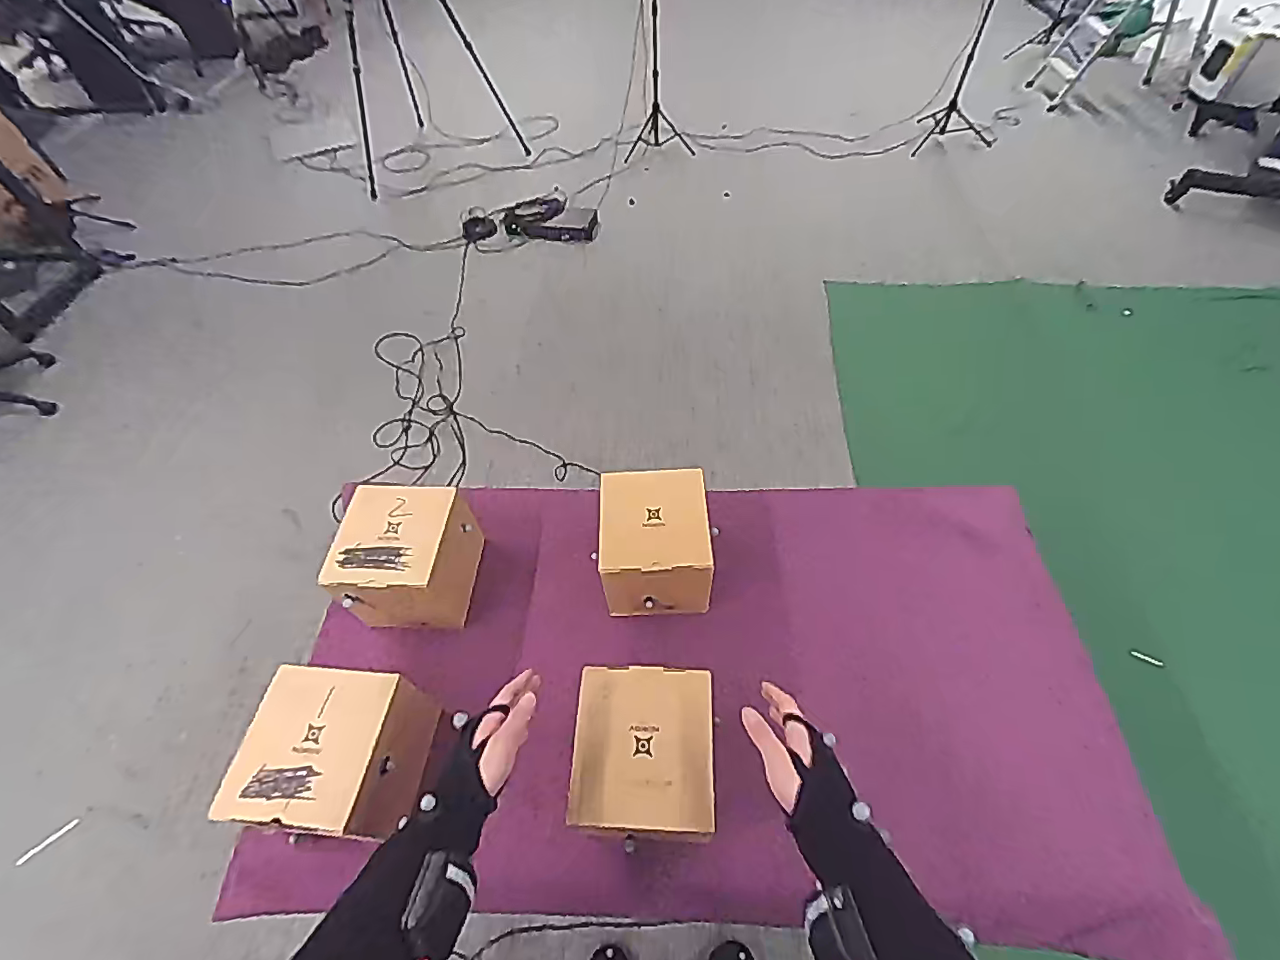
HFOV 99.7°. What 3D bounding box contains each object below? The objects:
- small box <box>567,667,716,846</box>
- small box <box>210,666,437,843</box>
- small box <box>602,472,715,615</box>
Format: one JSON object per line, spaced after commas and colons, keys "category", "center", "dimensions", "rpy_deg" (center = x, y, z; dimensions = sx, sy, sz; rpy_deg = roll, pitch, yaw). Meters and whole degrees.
{"category": "small box", "center": [0.010, 0.359, 0.699], "dimensions": [0.168, 0.176, 0.179], "rpy_deg": [1, 54, 4]}
{"category": "small box", "center": [-0.391, 0.363, 0.710], "dimensions": [0.168, 0.176, 0.179], "rpy_deg": [3, 53, 5]}
{"category": "small box", "center": [0.026, 0.105, 0.881], "dimensions": [0.168, 0.176, 0.179], "rpy_deg": [-3, 56, 0]}
